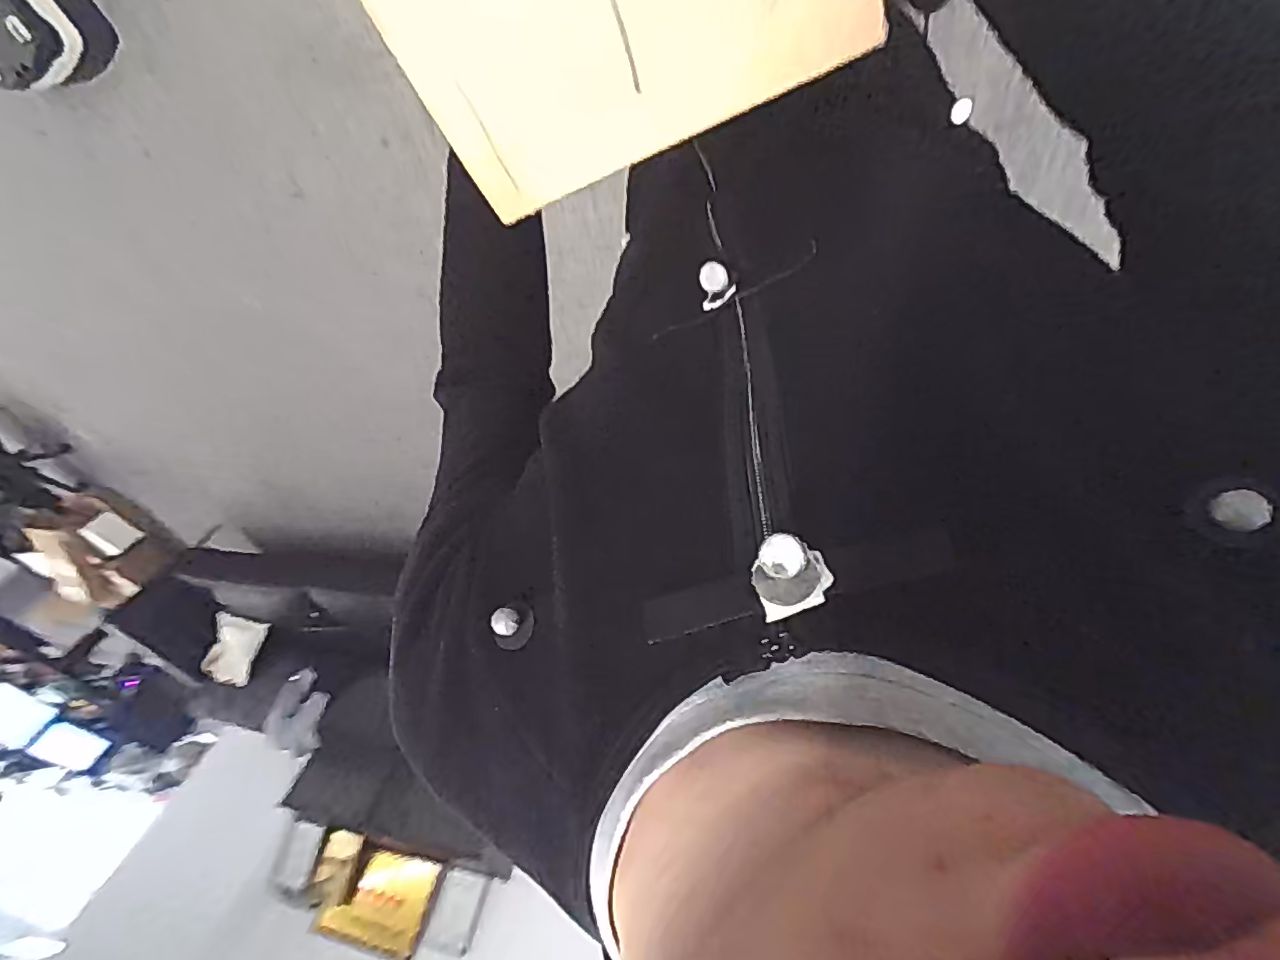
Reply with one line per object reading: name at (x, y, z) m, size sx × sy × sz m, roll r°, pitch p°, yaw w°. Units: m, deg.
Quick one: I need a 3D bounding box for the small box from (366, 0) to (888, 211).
small box at (-0.016, -0.248, 0.205) m, size 0.168 × 0.176 × 0.179 m, roll -11°, pitch 137°, yaw 23°
